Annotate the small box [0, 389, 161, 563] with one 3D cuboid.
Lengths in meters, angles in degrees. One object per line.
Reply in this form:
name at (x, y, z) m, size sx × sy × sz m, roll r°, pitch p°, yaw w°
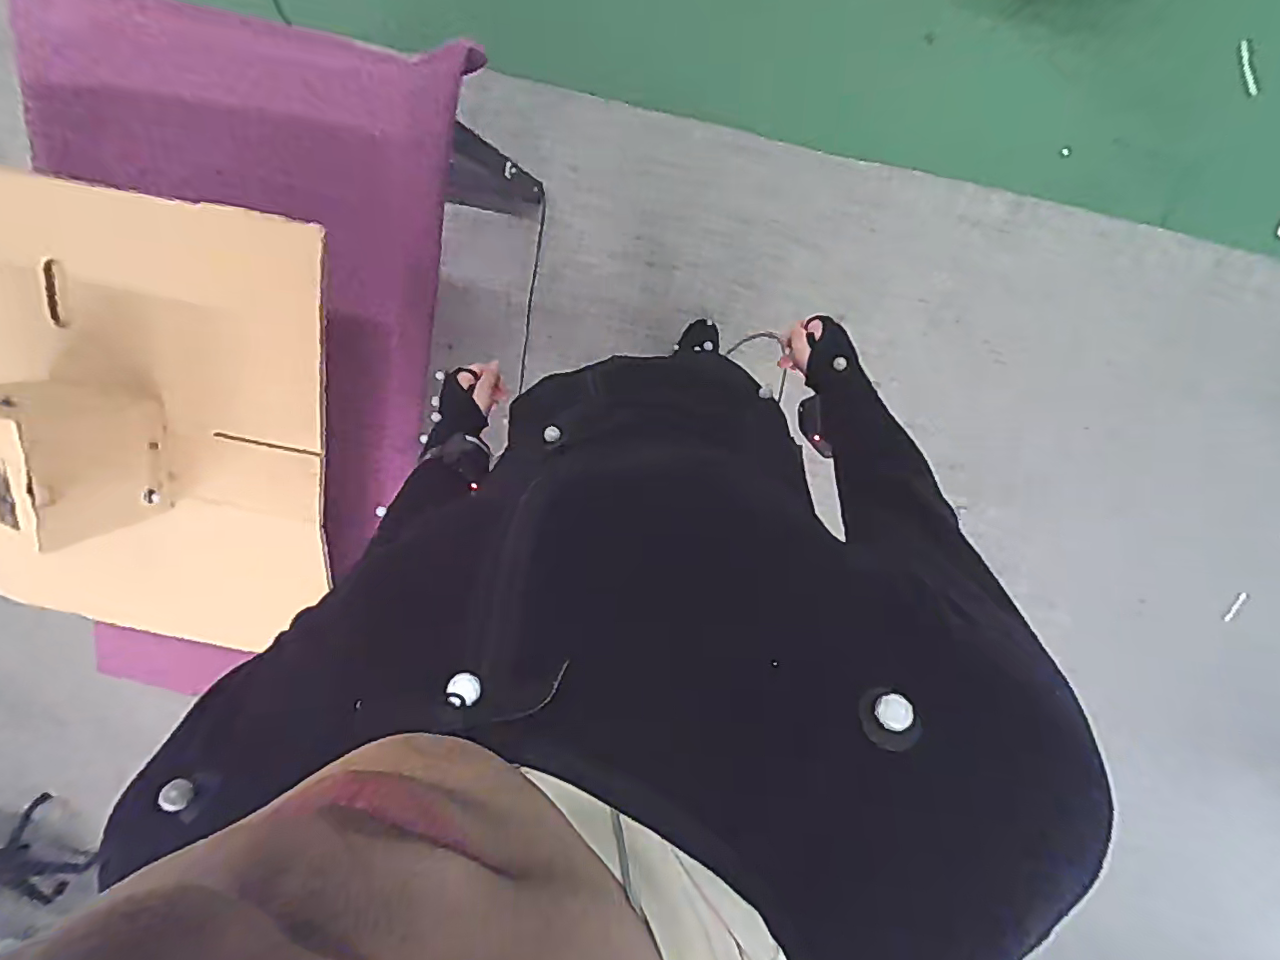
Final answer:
small box at (-0.758, -0.016, 0.687) m, size 0.179 × 0.176 × 0.168 m, roll 11°, pitch 106°, yaw 3°
